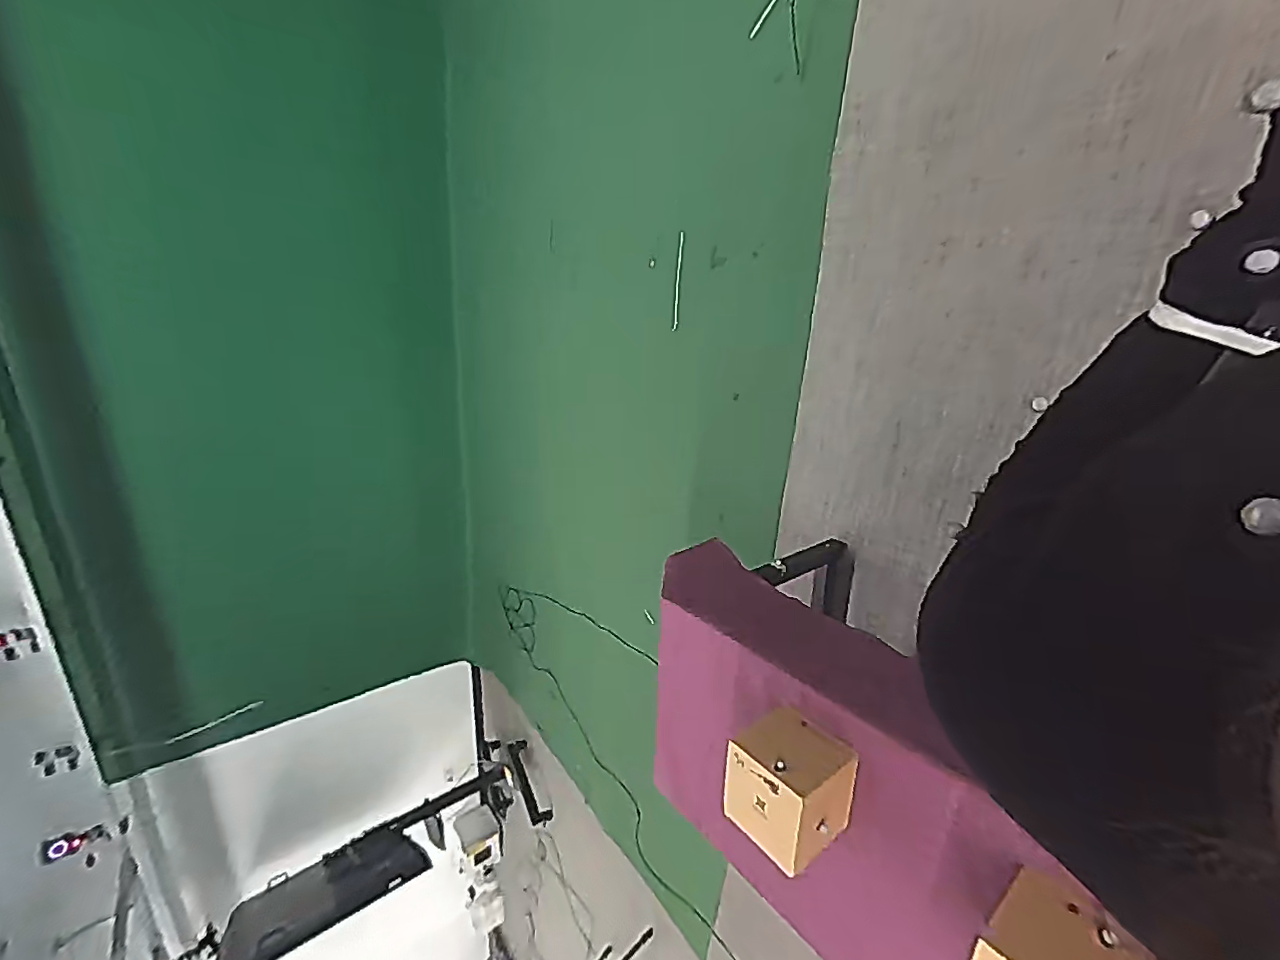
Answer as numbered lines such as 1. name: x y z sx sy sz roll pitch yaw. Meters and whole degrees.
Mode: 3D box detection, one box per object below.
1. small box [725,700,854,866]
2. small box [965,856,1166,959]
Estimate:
1. small box: 0.279 0.556 1.016 0.168 0.176 0.179 21 117 48
2. small box: 0.539 0.652 0.700 0.168 0.176 0.179 23 117 48
